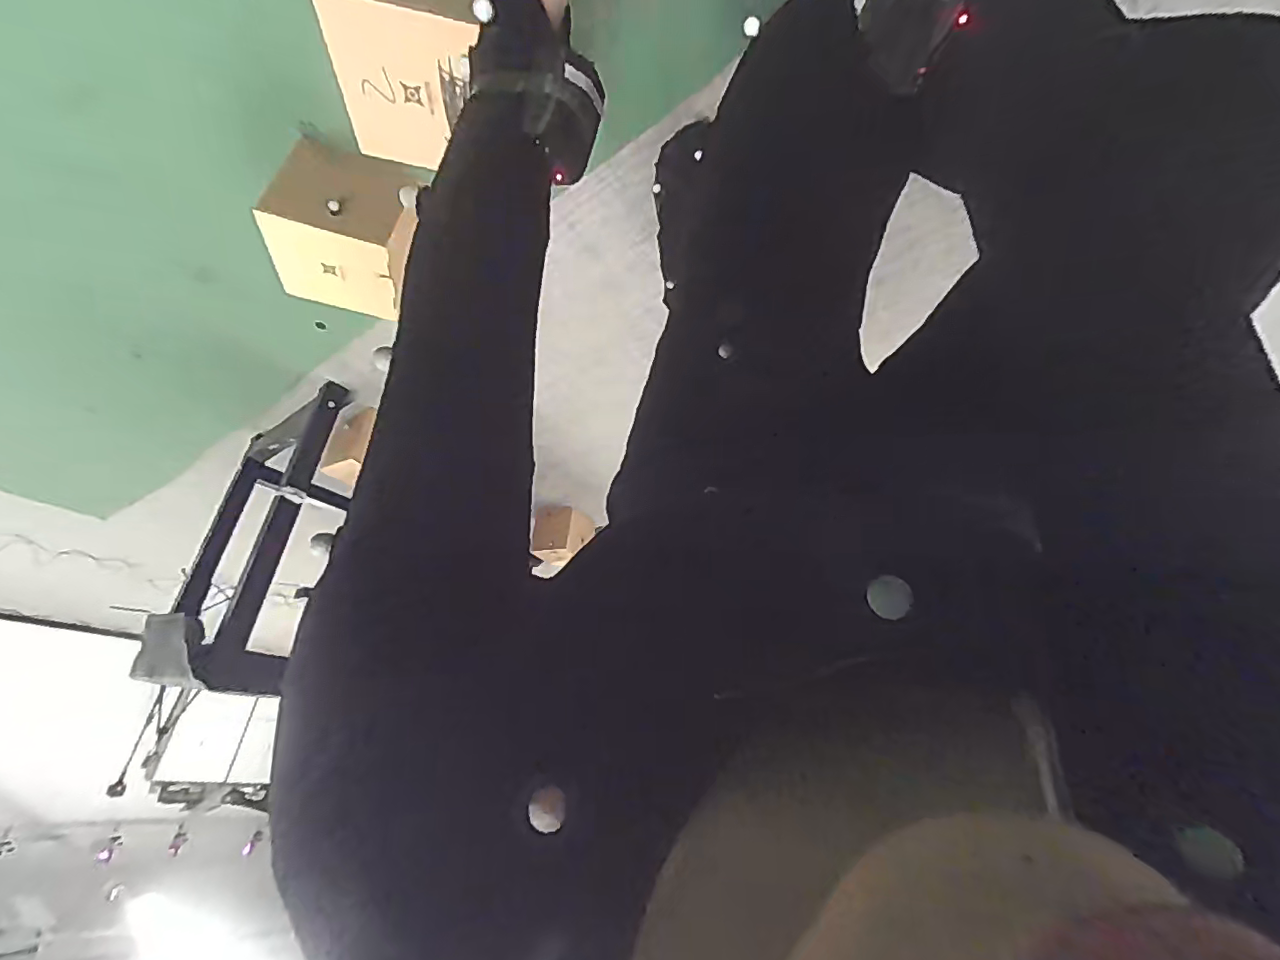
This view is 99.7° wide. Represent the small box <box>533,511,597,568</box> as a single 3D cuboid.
[{"bbox_3d":[-0.278,0.227,2.049,0.168,0.176,0.179,-8,151,25],"label":"small box"}]

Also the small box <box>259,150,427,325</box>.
[{"bbox_3d":[-0.453,-0.383,0.858,0.179,0.176,0.168,11,153,-13],"label":"small box"}]

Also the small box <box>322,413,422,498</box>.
[{"bbox_3d":[-0.759,-0.066,1.551,0.168,0.176,0.179,-12,148,31],"label":"small box"}]
